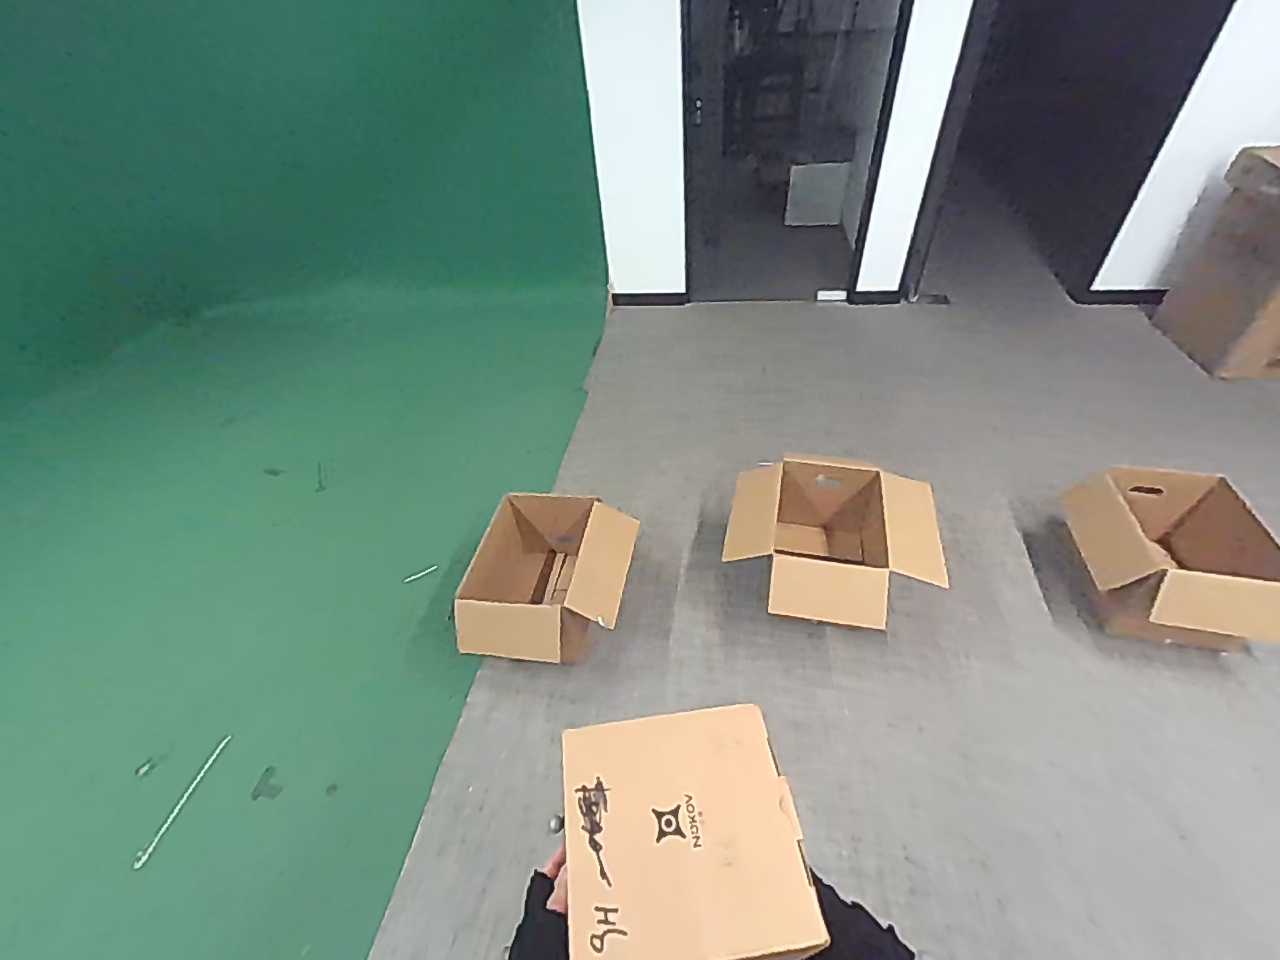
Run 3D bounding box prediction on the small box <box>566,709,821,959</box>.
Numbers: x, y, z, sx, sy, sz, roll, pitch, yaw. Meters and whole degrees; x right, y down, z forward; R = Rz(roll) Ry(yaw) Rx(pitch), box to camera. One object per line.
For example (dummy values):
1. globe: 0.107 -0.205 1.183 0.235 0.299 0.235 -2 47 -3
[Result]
1. small box: 0.028 0.321 0.471 0.179 0.176 0.168 -3 43 -6
